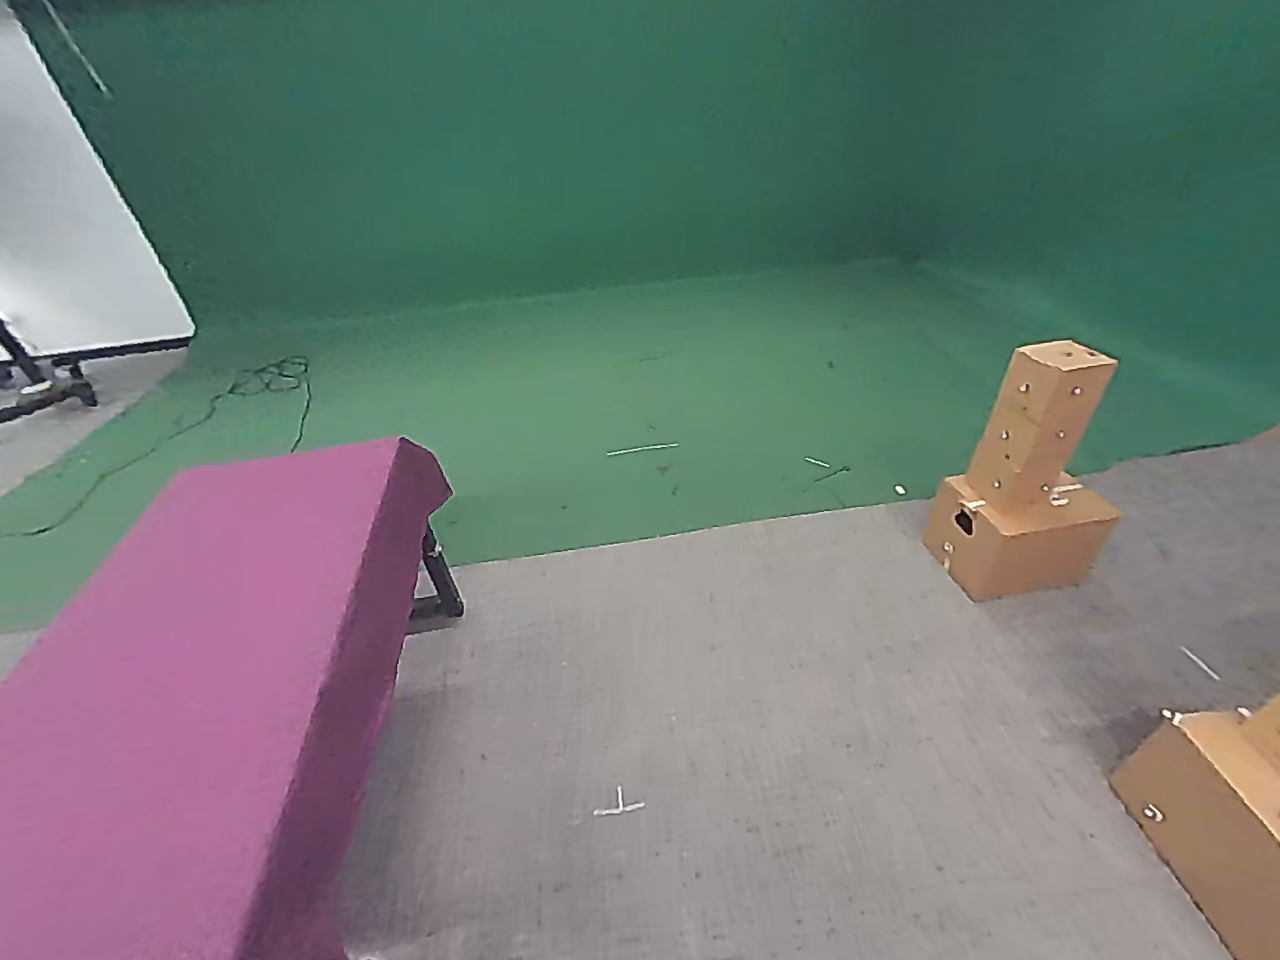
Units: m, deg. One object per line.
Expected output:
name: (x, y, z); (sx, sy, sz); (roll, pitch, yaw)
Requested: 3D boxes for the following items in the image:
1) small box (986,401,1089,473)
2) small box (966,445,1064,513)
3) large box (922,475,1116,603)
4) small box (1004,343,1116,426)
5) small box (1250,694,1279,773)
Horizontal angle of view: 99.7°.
small box: (1.192, -0.139, 1.641); (0.179, 0.176, 0.168); (-11, 38, -9)
small box: (1.196, -0.008, 1.739); (0.168, 0.176, 0.179); (-9, 36, -6)
large box: (1.284, 0.188, 1.877); (0.408, 0.320, 0.320); (-8, 37, -5)
small box: (1.180, -0.270, 1.541); (0.179, 0.176, 0.168); (-10, 37, -7)
small box: (1.345, 0.512, 1.029); (0.179, 0.176, 0.168); (-3, 37, 0)
